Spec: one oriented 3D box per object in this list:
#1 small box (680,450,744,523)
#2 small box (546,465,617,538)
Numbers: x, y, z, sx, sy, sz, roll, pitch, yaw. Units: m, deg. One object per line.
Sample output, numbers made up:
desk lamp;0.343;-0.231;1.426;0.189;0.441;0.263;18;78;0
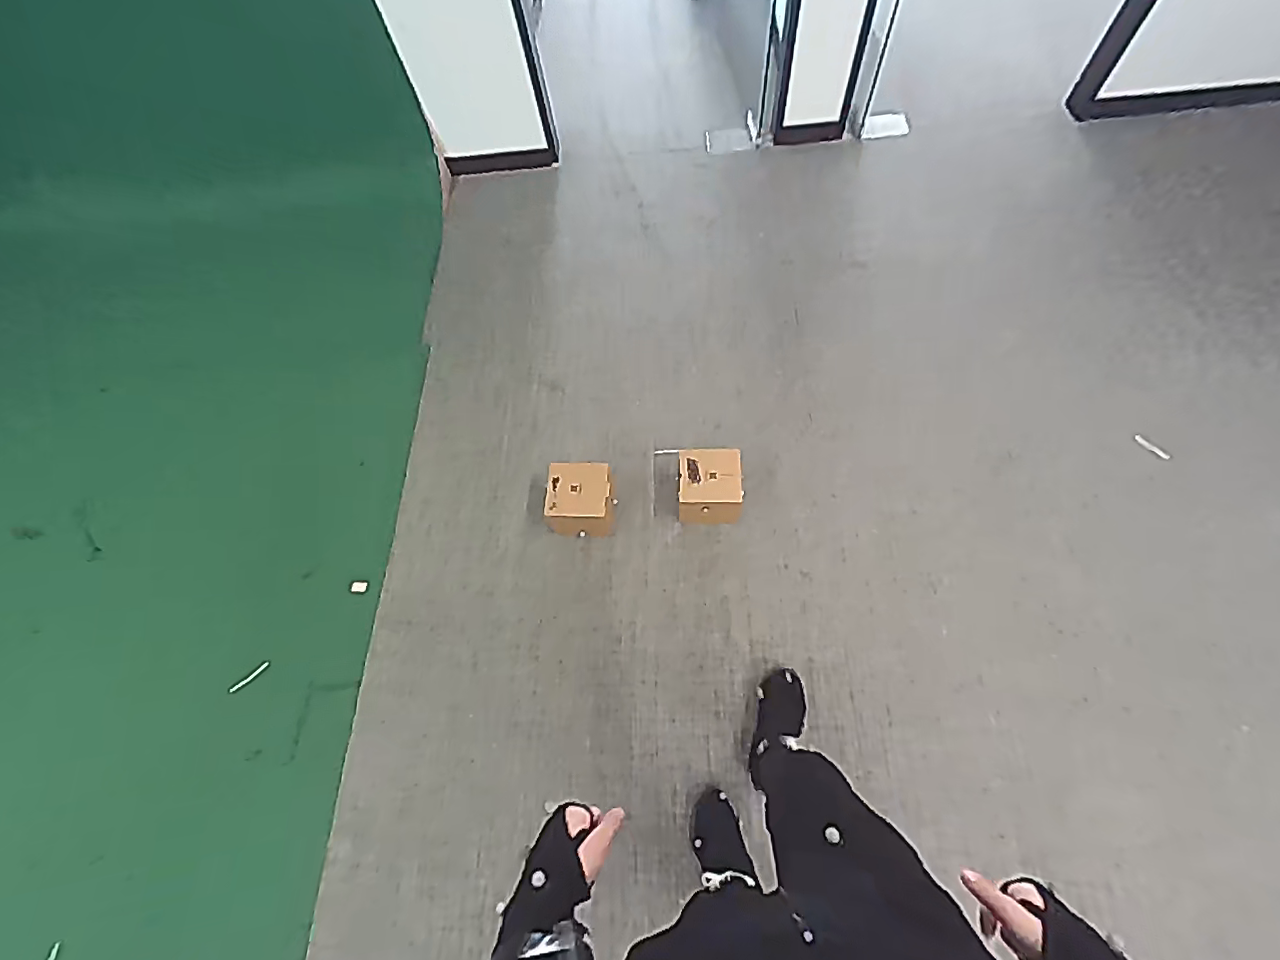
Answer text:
small box;0.206;0.023;1.575;0.179;0.176;0.168;-1;66;5
small box;-0.165;0.067;1.596;0.179;0.176;0.168;1;66;6
